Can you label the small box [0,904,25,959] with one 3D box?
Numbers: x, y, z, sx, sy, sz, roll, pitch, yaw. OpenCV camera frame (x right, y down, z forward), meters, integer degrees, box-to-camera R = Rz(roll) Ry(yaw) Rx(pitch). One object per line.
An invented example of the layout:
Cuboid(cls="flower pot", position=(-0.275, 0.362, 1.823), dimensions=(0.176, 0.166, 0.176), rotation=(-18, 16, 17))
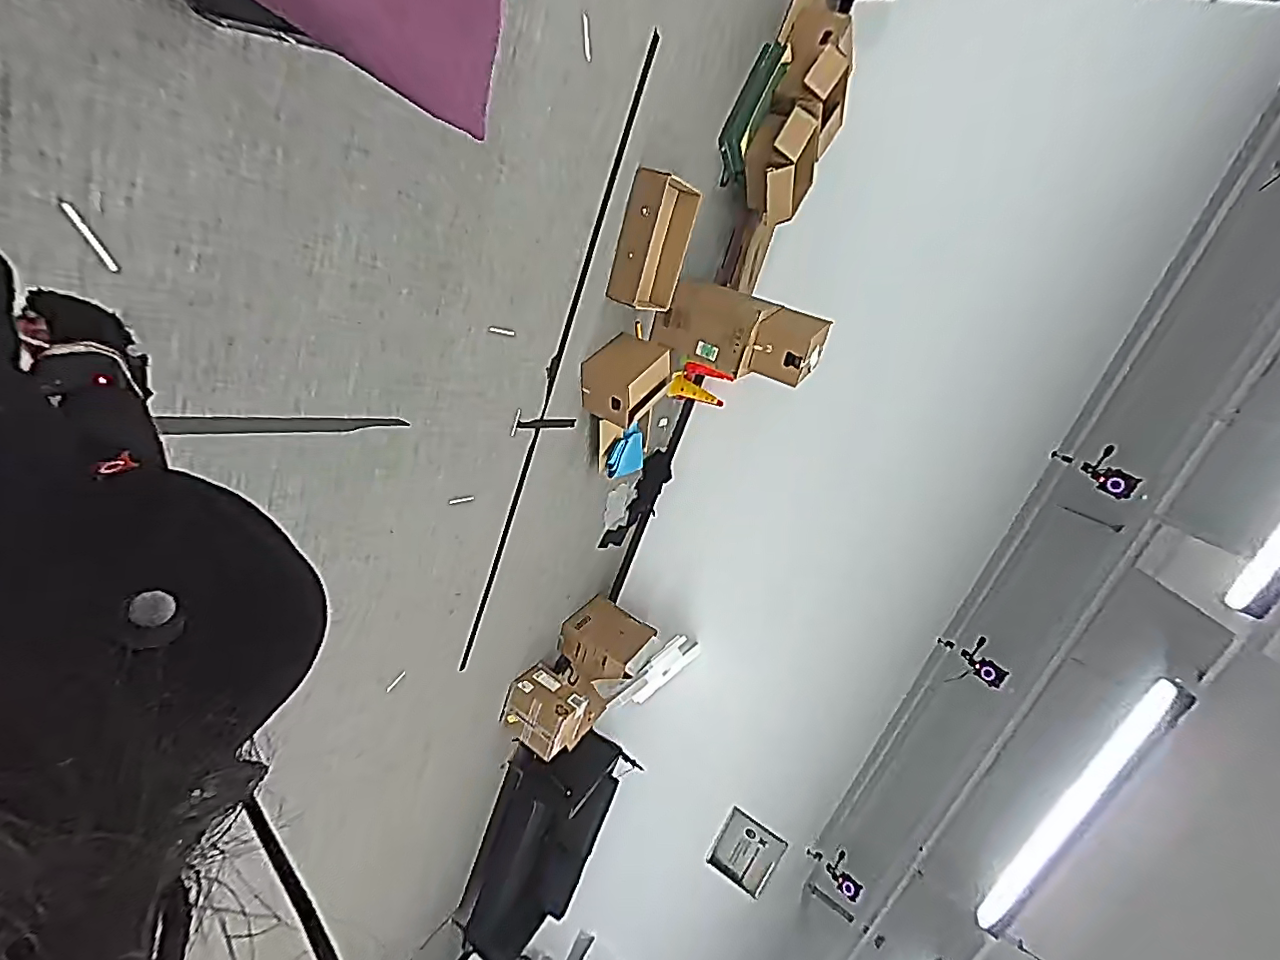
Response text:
Cuboid(cls="small box", position=(-1.771, 1.198, 1.397), dimensions=(0.168, 0.176, 0.179), rotation=(-38, 148, -51))
